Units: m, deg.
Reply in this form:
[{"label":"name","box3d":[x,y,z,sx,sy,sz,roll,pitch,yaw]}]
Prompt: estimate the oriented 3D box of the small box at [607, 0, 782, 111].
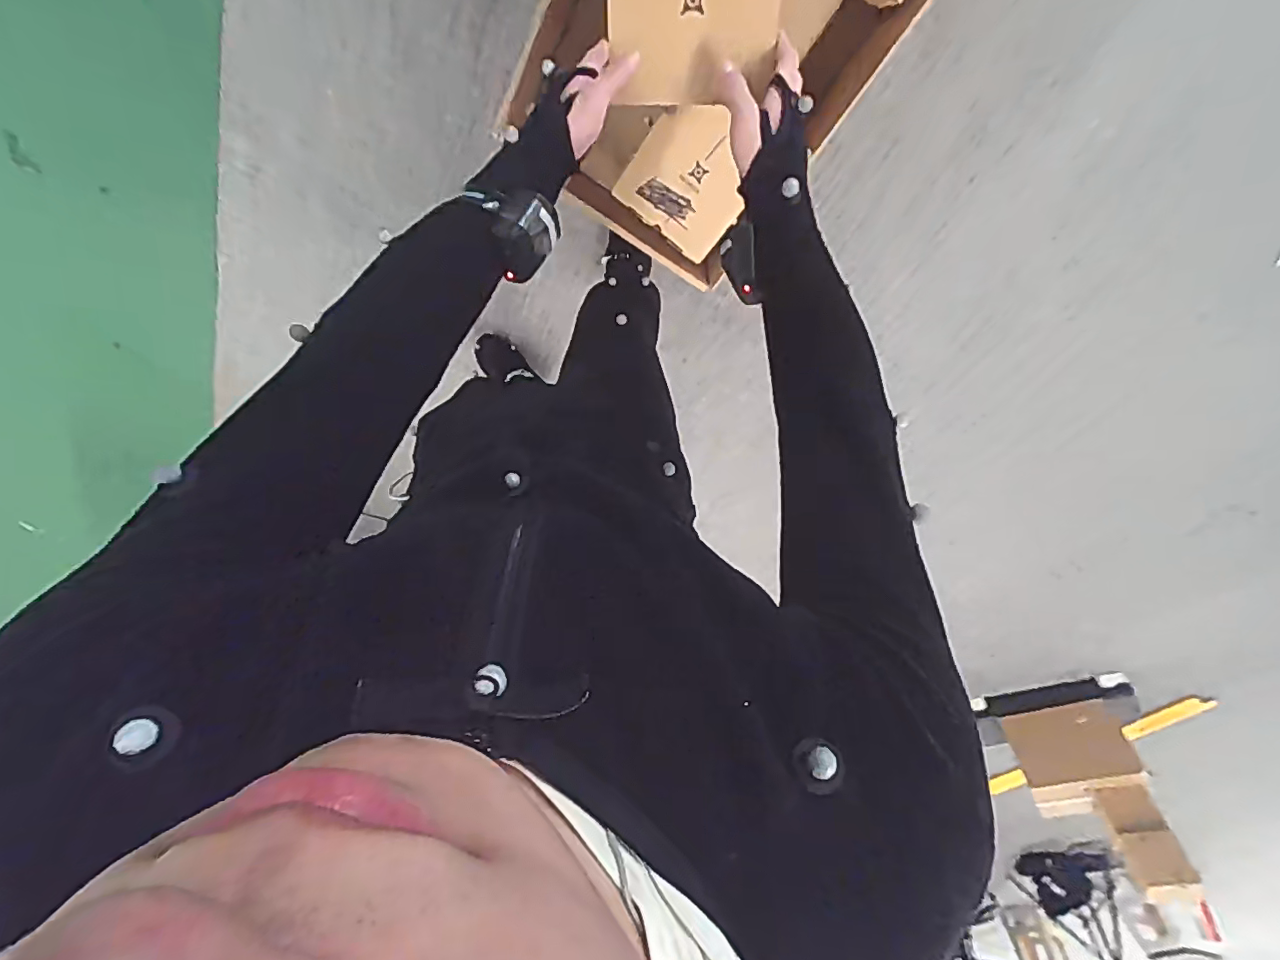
[{"label":"small box","box3d":[0.059,-0.494,0.559,0.168,0.176,0.179,3,127,5]}]
